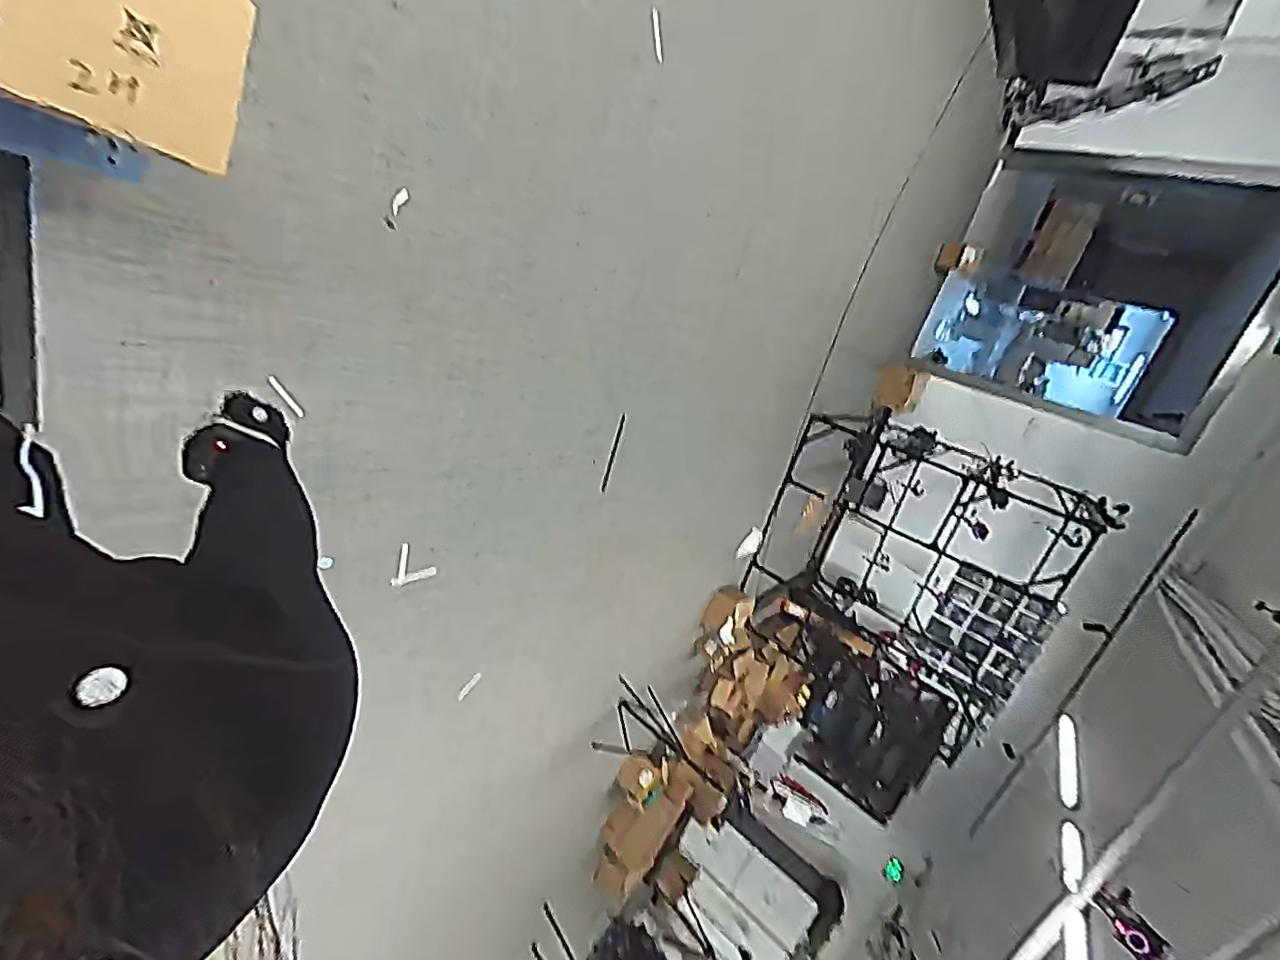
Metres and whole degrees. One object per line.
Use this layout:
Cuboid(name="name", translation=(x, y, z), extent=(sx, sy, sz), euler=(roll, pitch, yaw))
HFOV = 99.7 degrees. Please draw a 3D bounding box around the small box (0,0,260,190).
Cuboid(name="small box", translation=(-0.526, -0.429, 0.547), extent=(0.168, 0.176, 0.179), euler=(3, 112, -57))
